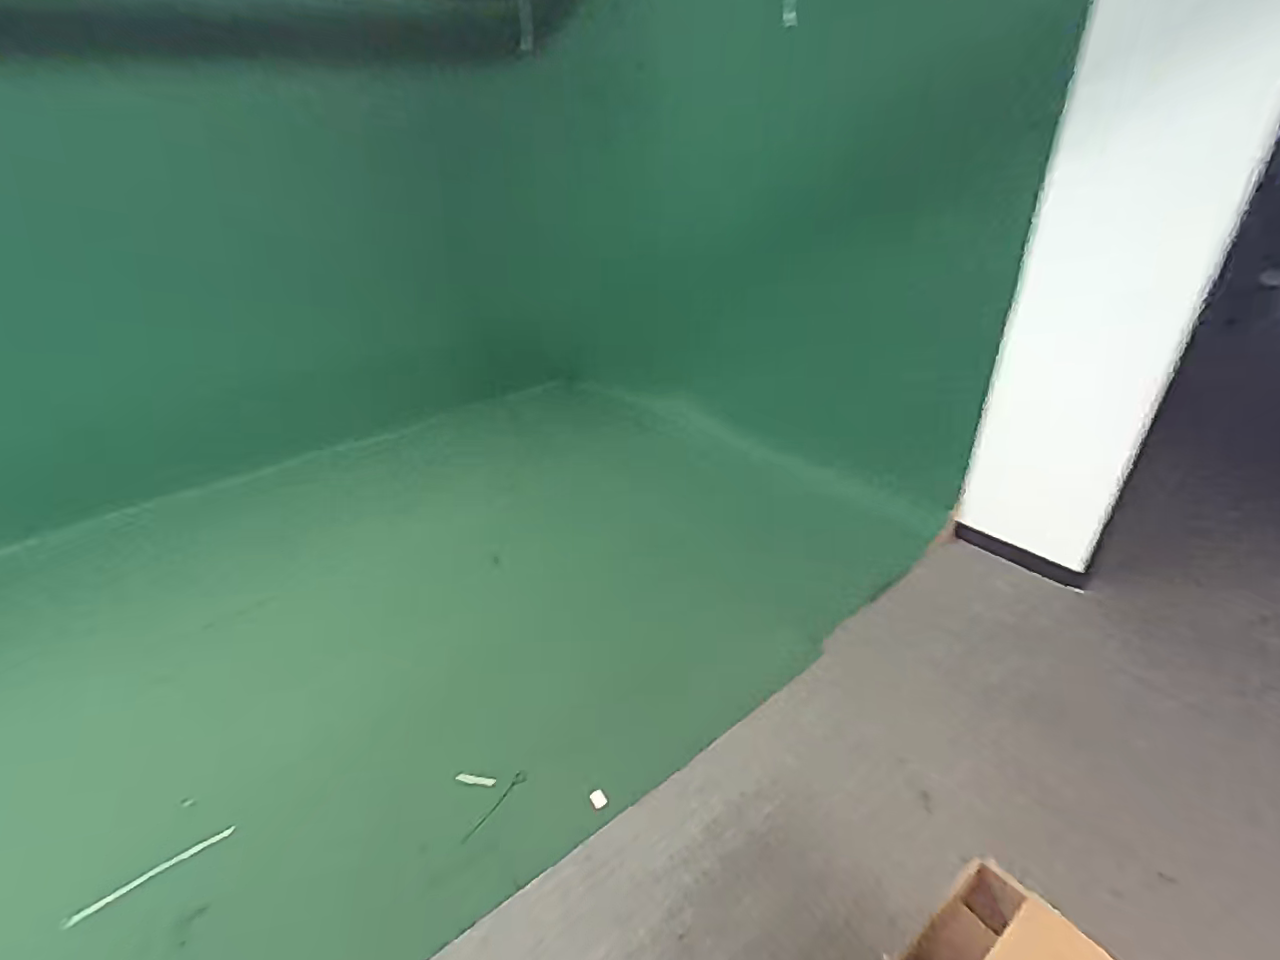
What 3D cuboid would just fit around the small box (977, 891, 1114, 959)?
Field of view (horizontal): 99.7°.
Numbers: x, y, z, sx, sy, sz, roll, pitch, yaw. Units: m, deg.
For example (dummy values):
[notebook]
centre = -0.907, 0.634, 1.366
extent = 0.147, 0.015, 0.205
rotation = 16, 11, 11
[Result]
[small box]
centre = 0.425, 0.594, 0.557
extent = 0.179, 0.176, 0.168
rotation = -22, 36, -27
